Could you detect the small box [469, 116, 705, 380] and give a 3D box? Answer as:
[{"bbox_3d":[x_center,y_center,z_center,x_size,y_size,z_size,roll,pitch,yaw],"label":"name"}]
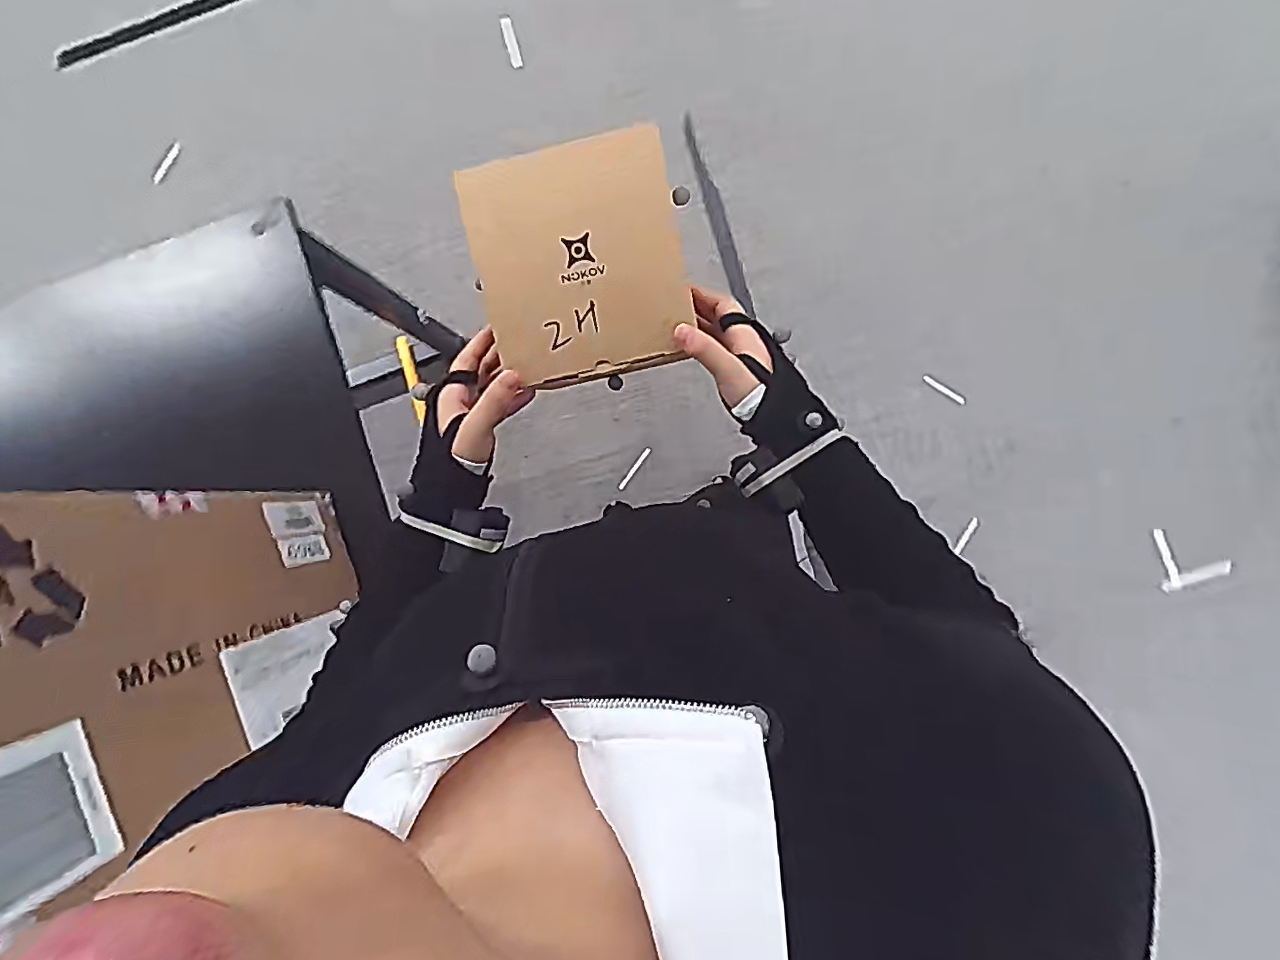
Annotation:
[{"bbox_3d":[-0.039,-0.196,0.511,0.168,0.176,0.179,-10,100,4],"label":"small box"}]
